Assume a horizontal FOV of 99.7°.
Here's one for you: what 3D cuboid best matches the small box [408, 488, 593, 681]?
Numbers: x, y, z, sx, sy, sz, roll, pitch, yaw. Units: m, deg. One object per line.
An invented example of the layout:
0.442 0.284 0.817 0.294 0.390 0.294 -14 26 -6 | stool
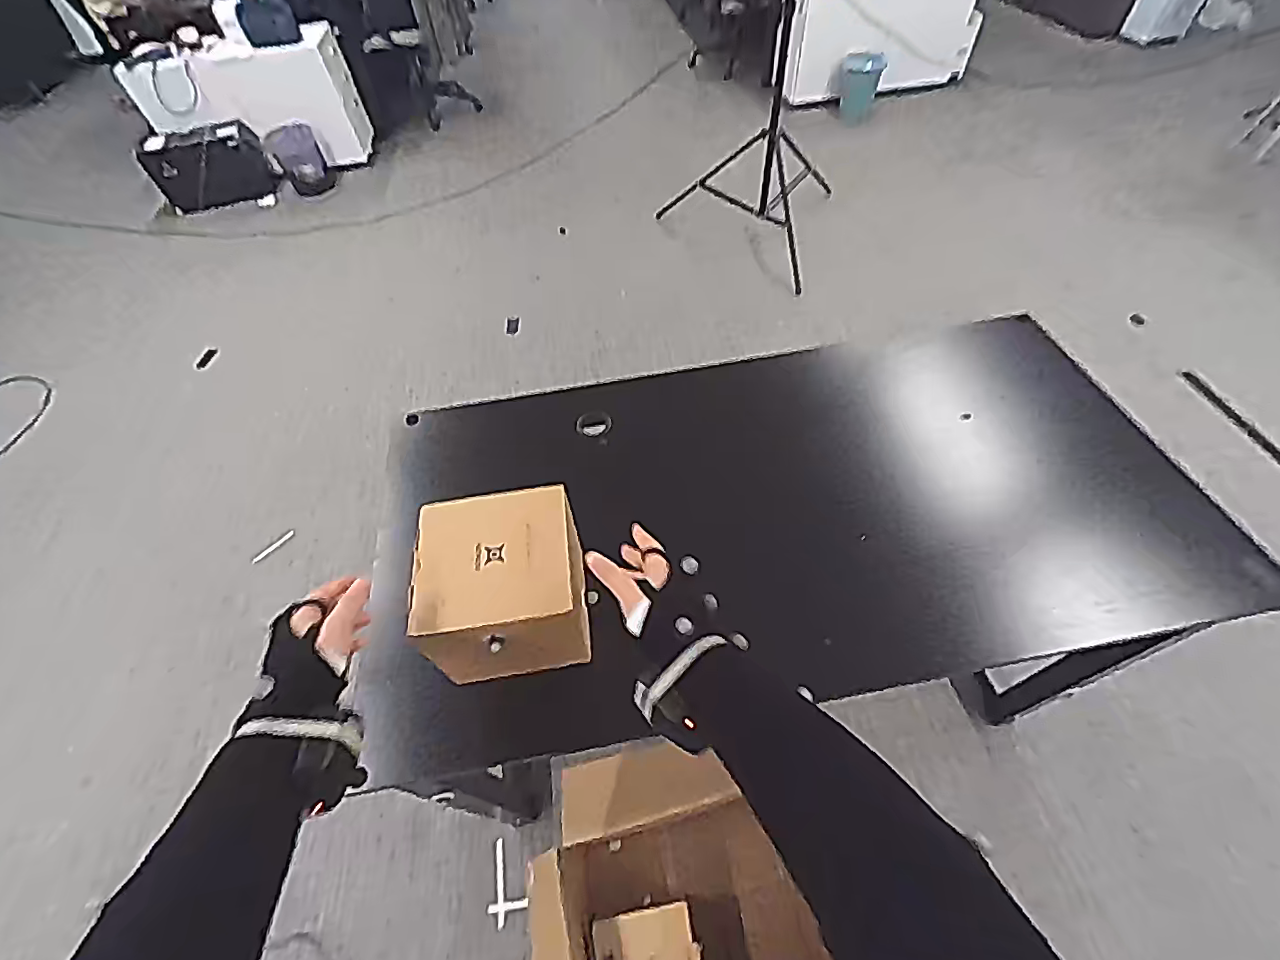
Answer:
-0.160 0.134 0.666 0.179 0.176 0.168 -9 54 -4 | small box
